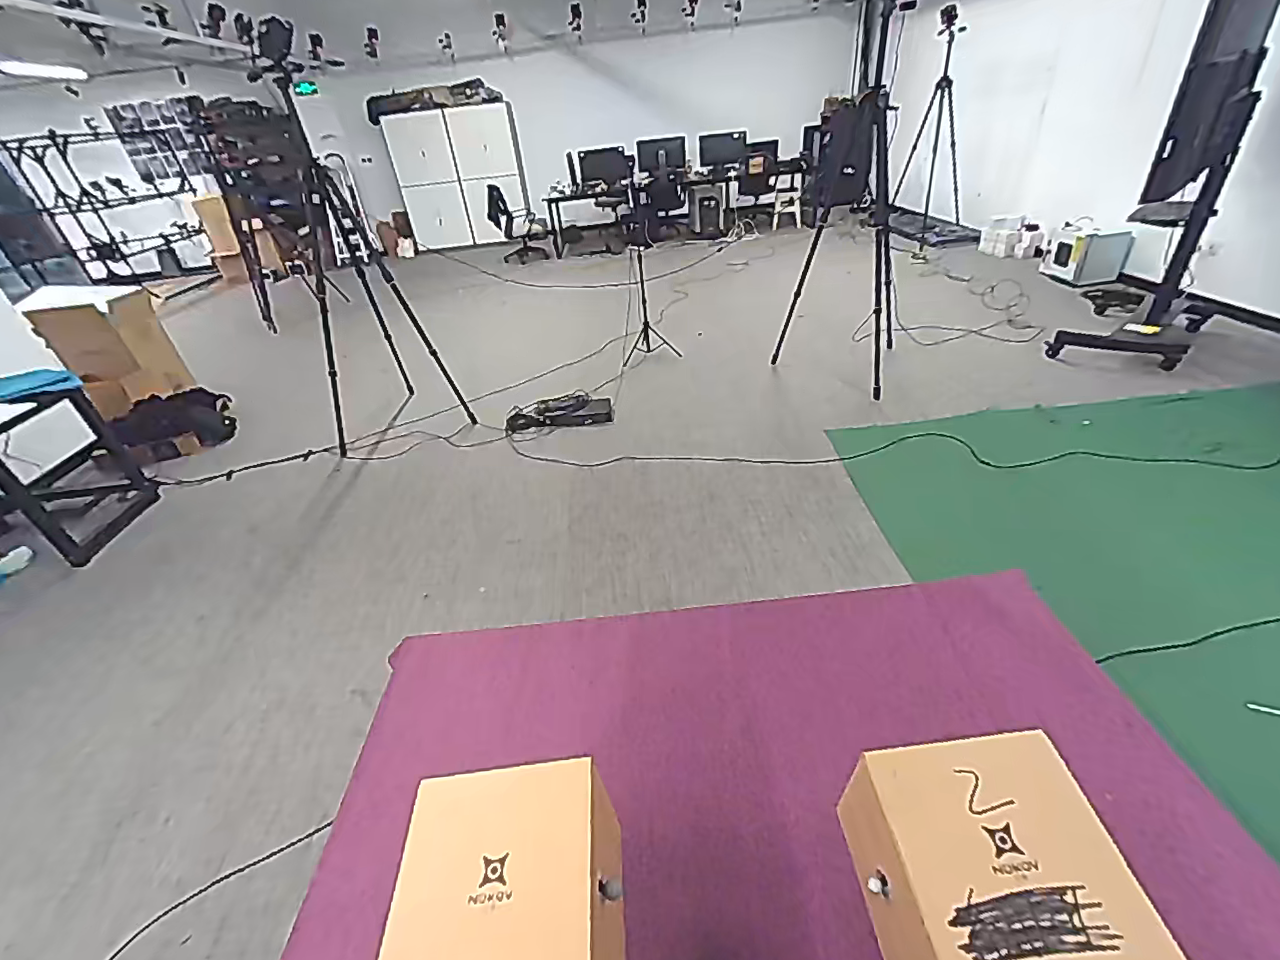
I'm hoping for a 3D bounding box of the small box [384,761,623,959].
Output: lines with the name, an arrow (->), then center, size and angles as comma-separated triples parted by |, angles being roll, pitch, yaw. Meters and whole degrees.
small box -> -0.110, 0.396, 0.503 | 0.168, 0.176, 0.179 | -9, 38, 2
